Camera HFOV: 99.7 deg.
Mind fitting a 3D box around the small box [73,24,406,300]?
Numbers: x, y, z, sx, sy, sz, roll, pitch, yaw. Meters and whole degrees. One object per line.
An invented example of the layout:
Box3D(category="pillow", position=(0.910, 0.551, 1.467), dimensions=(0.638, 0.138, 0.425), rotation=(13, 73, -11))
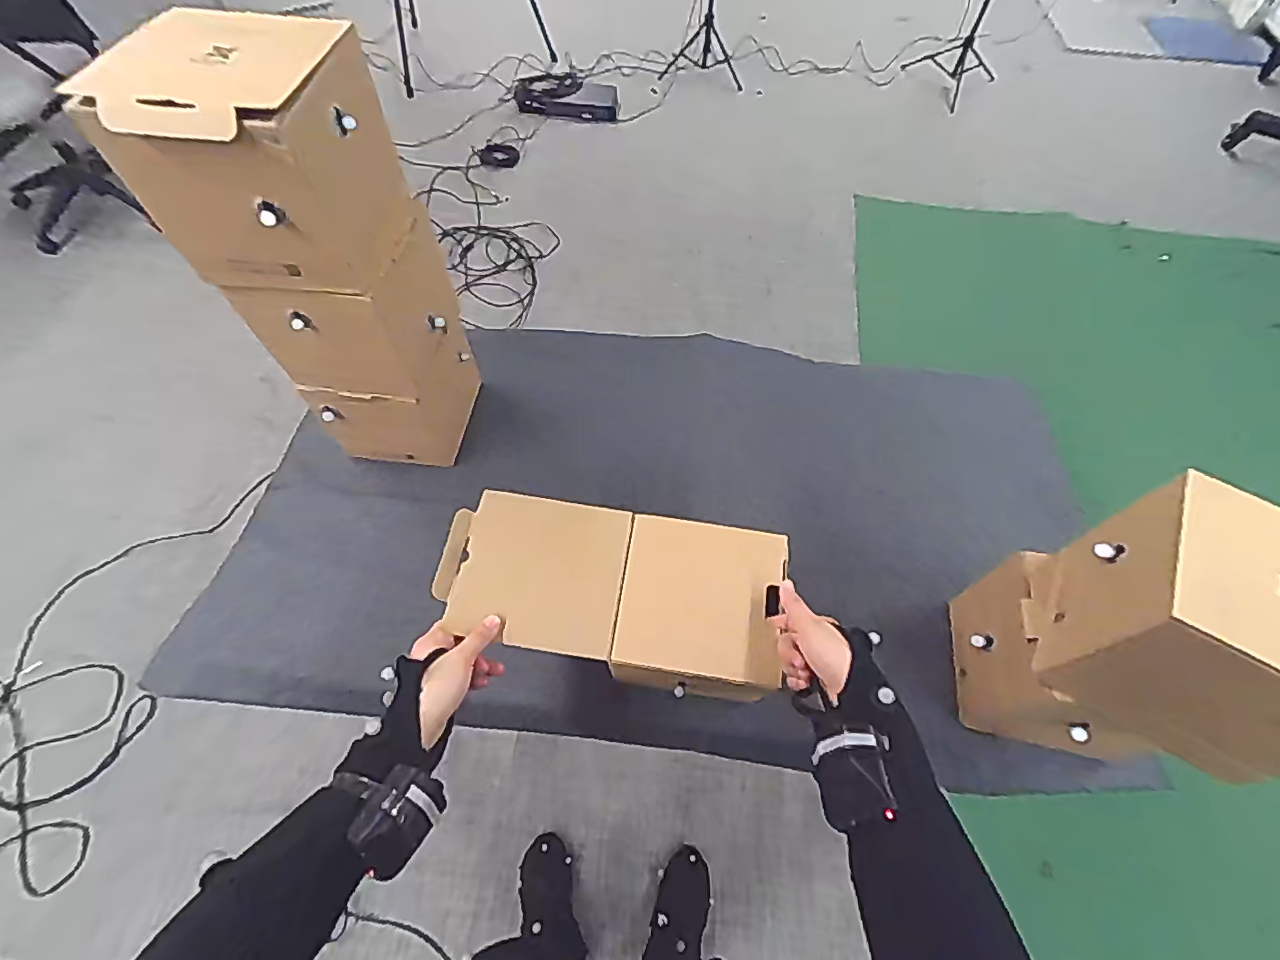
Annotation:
Box3D(category="small box", position=(-0.350, -0.297, 0.522), dimensions=(0.168, 0.176, 0.179), rotation=(4, 59, -1))

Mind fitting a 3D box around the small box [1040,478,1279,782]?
Box3D(category="small box", position=(0.499, 0.136, 0.472), dimensions=(0.179, 0.176, 0.168), rotation=(30, 60, 16))

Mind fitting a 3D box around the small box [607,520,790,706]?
Box3D(category="small box", position=(0.067, 0.164, 0.636), dimensions=(0.179, 0.176, 0.168), rotation=(7, 63, 6))

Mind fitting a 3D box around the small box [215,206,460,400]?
Box3D(category="small box", position=(-0.346, -0.215, 0.662), dimensions=(0.179, 0.176, 0.168), rotation=(7, 61, 2))

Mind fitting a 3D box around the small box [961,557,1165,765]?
Box3D(category="small box", position=(0.494, 0.212, 0.618), dimensions=(0.179, 0.176, 0.168), rotation=(11, 57, 6))
